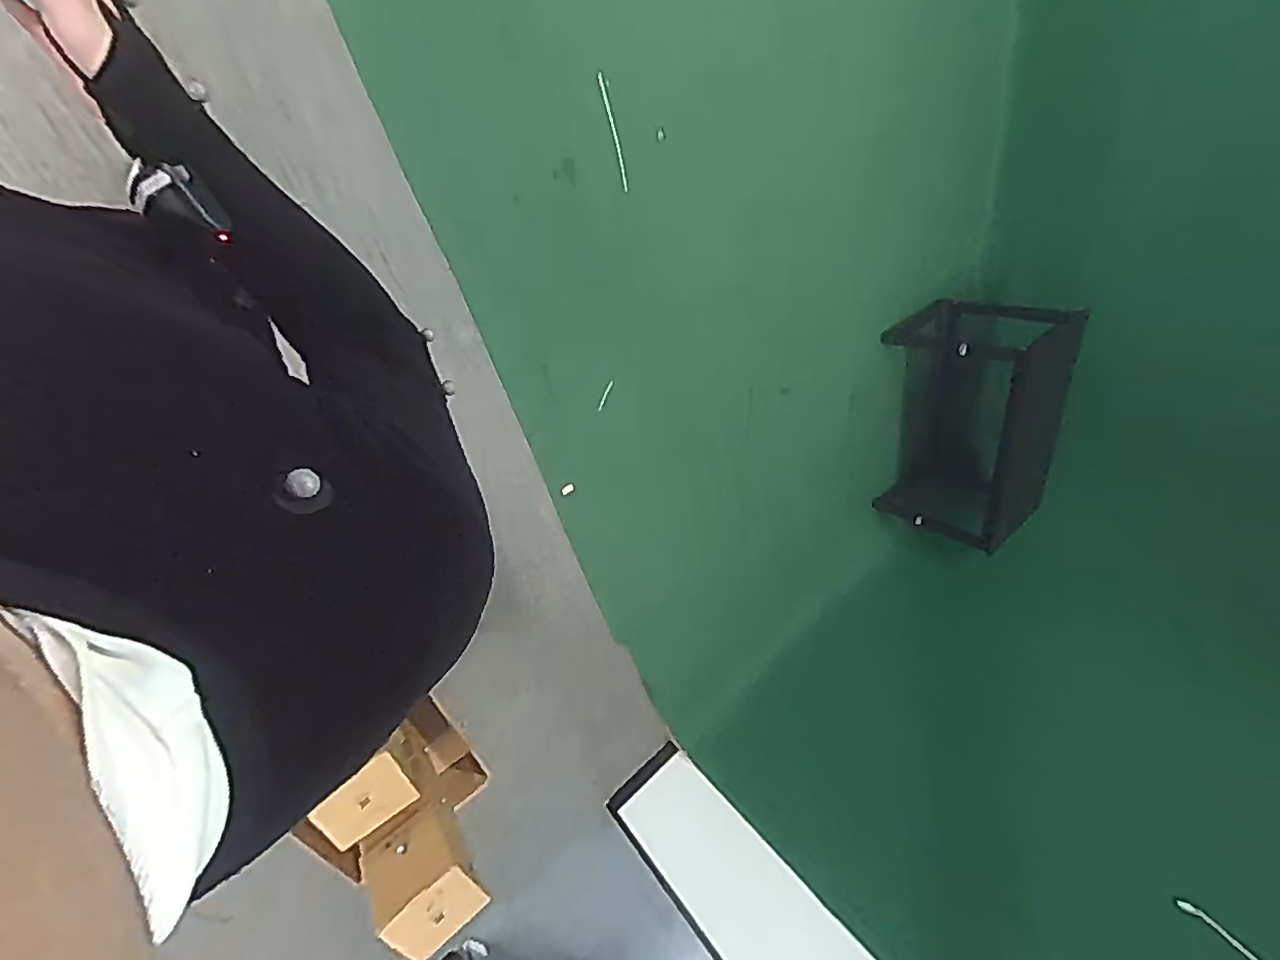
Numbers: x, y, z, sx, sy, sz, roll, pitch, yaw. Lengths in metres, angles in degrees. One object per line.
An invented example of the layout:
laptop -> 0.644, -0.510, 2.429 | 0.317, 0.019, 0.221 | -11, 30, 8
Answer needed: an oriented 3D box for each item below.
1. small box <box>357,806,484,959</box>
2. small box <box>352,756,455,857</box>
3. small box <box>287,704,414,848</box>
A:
small box -> -0.459, 0.831, 1.129 | 0.168, 0.176, 0.179 | -33, 125, -24
small box -> -0.553, 0.790, 1.259 | 0.168, 0.176, 0.179 | -31, 124, -24
small box -> -0.602, 0.598, 1.121 | 0.168, 0.176, 0.179 | -28, 127, -25
